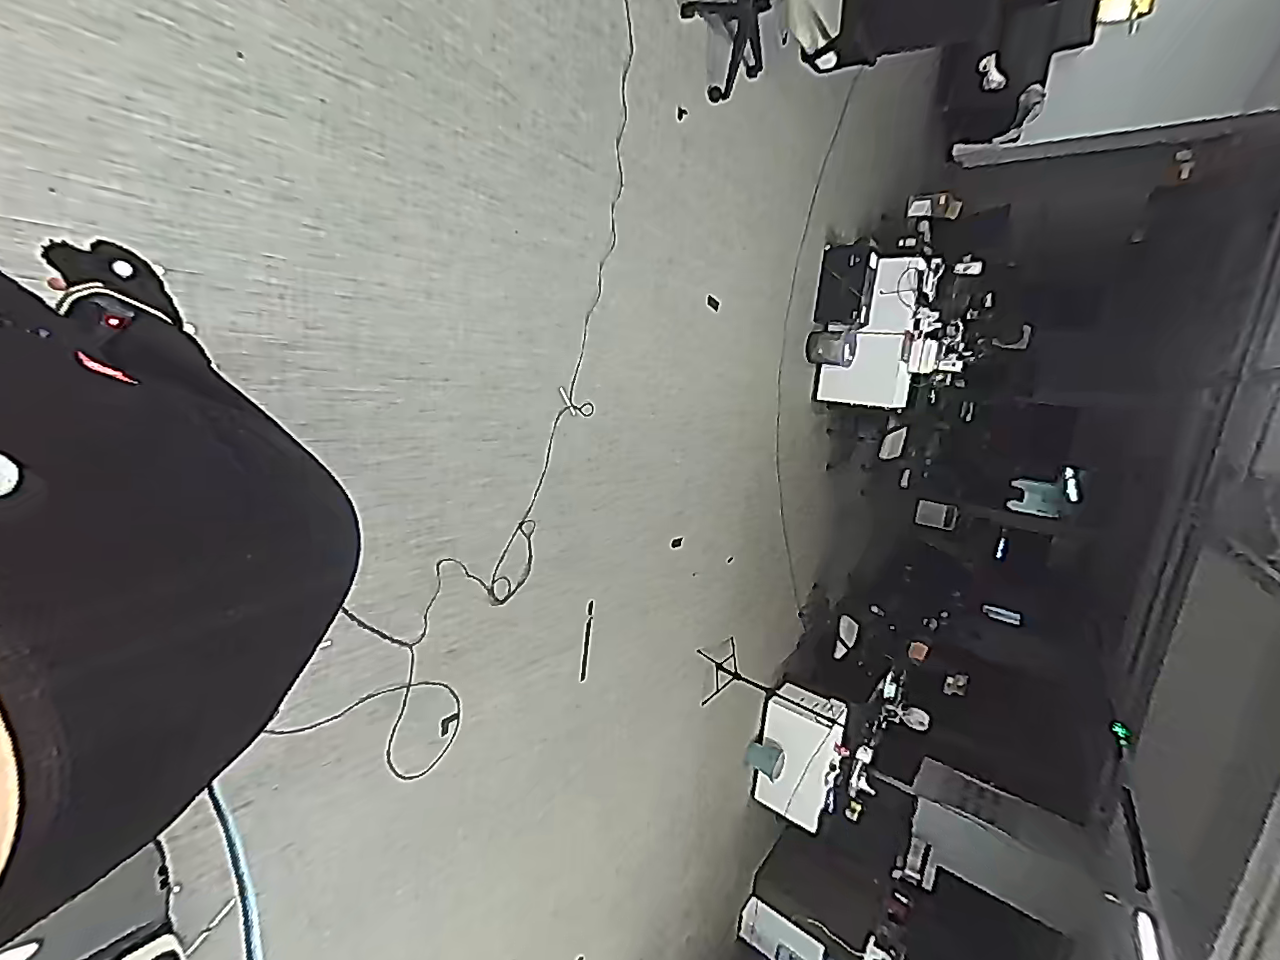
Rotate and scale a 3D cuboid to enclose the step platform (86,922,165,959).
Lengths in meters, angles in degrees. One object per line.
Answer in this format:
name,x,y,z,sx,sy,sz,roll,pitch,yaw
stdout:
step platform,-1.343,1.249,1.037,0.684,0.204,0.286,-12,110,-51
